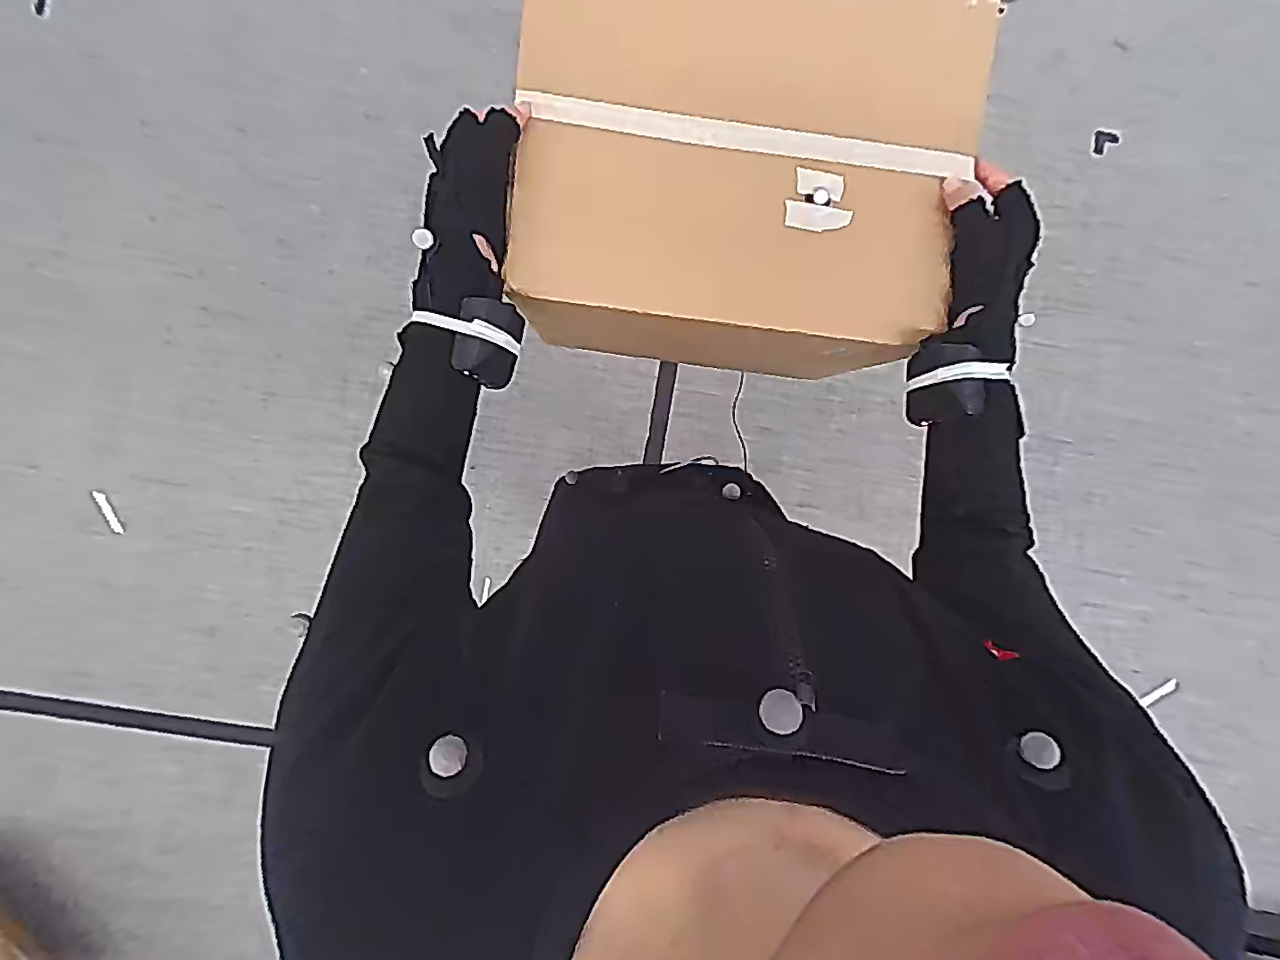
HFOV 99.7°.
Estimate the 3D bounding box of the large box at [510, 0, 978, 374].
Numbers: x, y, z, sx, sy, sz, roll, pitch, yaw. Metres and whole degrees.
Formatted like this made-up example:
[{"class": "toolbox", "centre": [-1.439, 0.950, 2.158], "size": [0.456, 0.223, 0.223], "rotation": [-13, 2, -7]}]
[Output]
[{"class": "large box", "centre": [0.084, -0.314, 0.636], "size": [0.408, 0.320, 0.320], "rotation": [7, 96, -4]}]
